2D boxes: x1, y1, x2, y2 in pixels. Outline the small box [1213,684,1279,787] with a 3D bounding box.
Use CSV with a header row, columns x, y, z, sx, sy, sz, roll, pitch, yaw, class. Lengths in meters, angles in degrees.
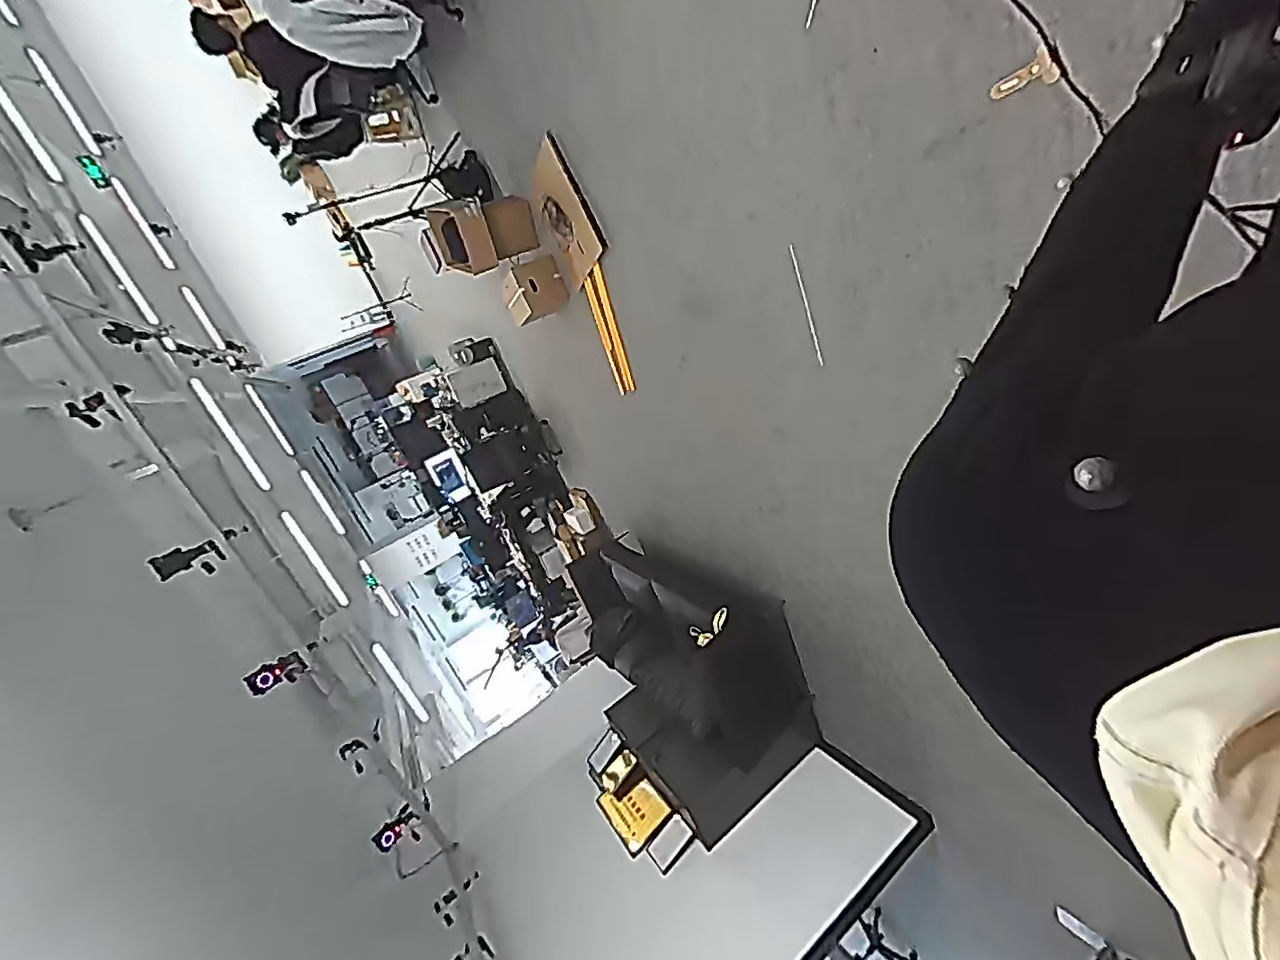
x,y,z,sx,sy,sz,roll,pitch,yaw,class
1.643,0.662,1.401,0.179,0.176,0.168,16,132,59,small box
